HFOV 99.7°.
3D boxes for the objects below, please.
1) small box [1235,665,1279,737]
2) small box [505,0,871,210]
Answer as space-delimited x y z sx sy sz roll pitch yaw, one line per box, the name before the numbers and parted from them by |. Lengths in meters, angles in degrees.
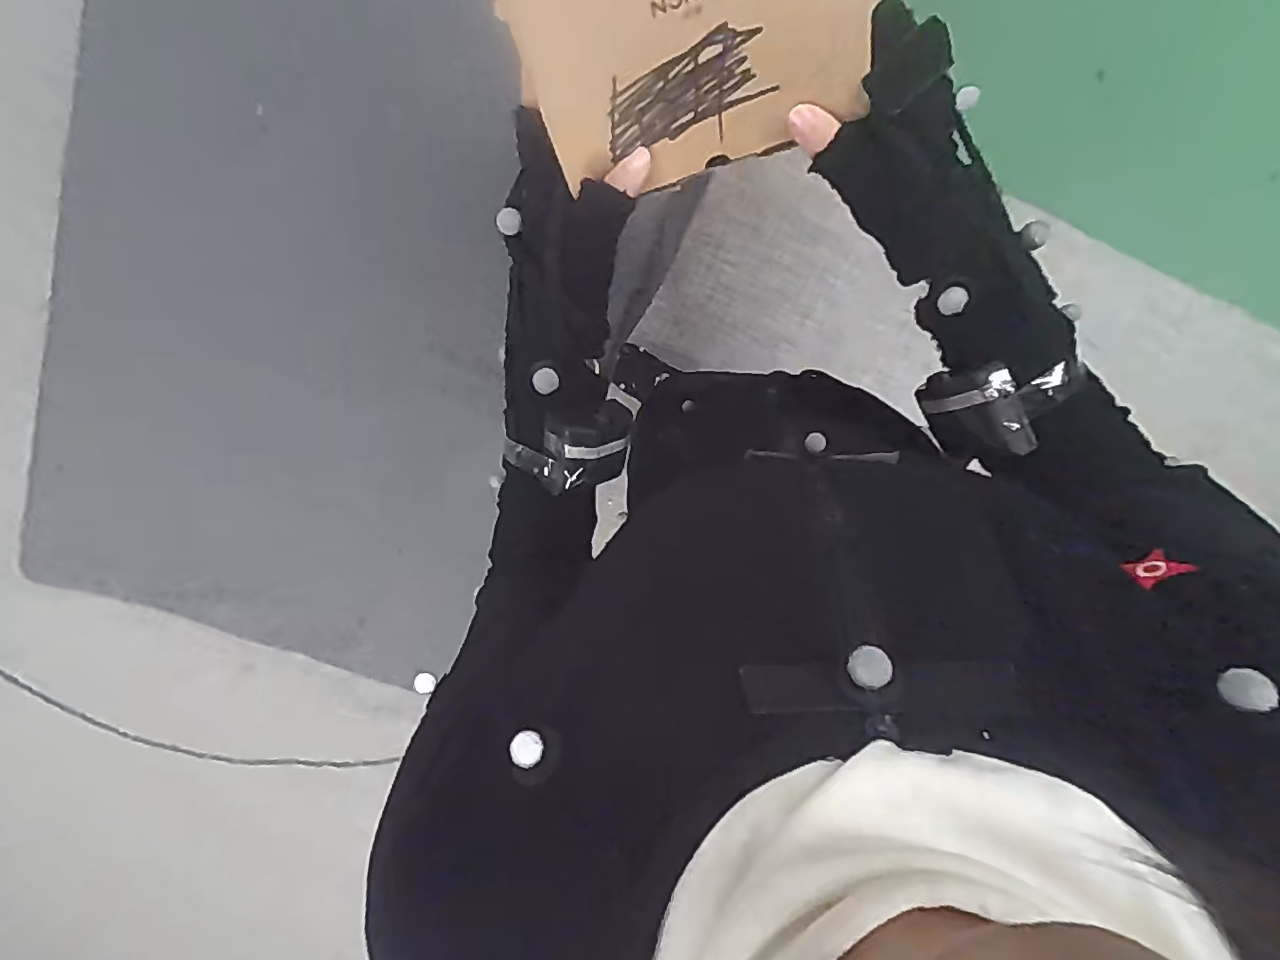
small box | 1.904 0.665 1.557 0.168 0.176 0.179 19 104 -7
small box | 0.016 -0.293 0.298 0.168 0.176 0.179 -16 136 13
